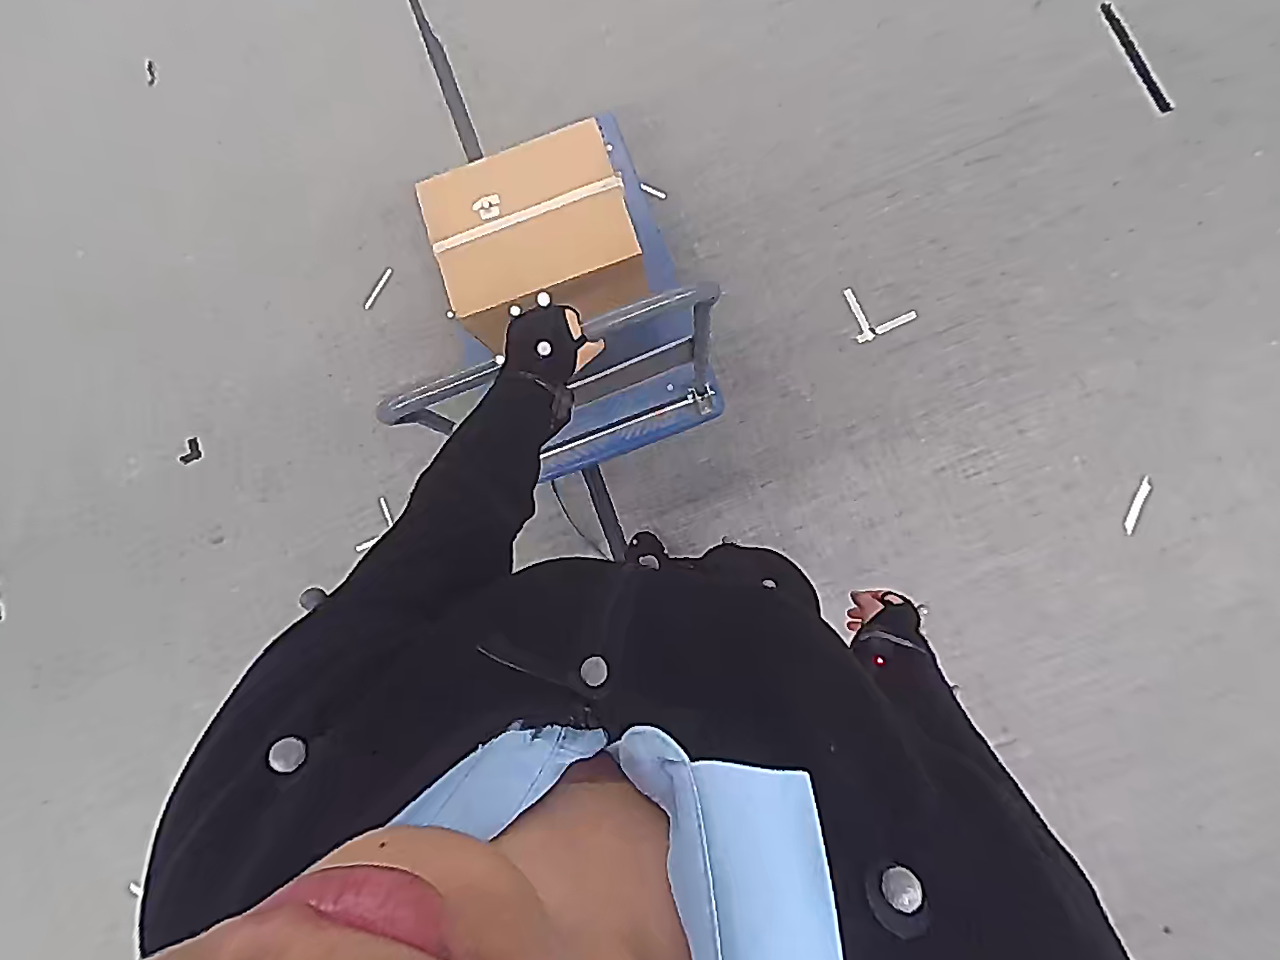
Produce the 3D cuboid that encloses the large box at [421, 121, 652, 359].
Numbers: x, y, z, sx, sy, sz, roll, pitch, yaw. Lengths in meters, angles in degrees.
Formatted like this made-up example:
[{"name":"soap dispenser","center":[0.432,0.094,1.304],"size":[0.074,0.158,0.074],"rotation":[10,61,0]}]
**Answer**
[{"name":"large box","center":[-0.217,-0.527,1.265],"size":[0.408,0.320,0.320],"rotation":[-19,83,4]}]
